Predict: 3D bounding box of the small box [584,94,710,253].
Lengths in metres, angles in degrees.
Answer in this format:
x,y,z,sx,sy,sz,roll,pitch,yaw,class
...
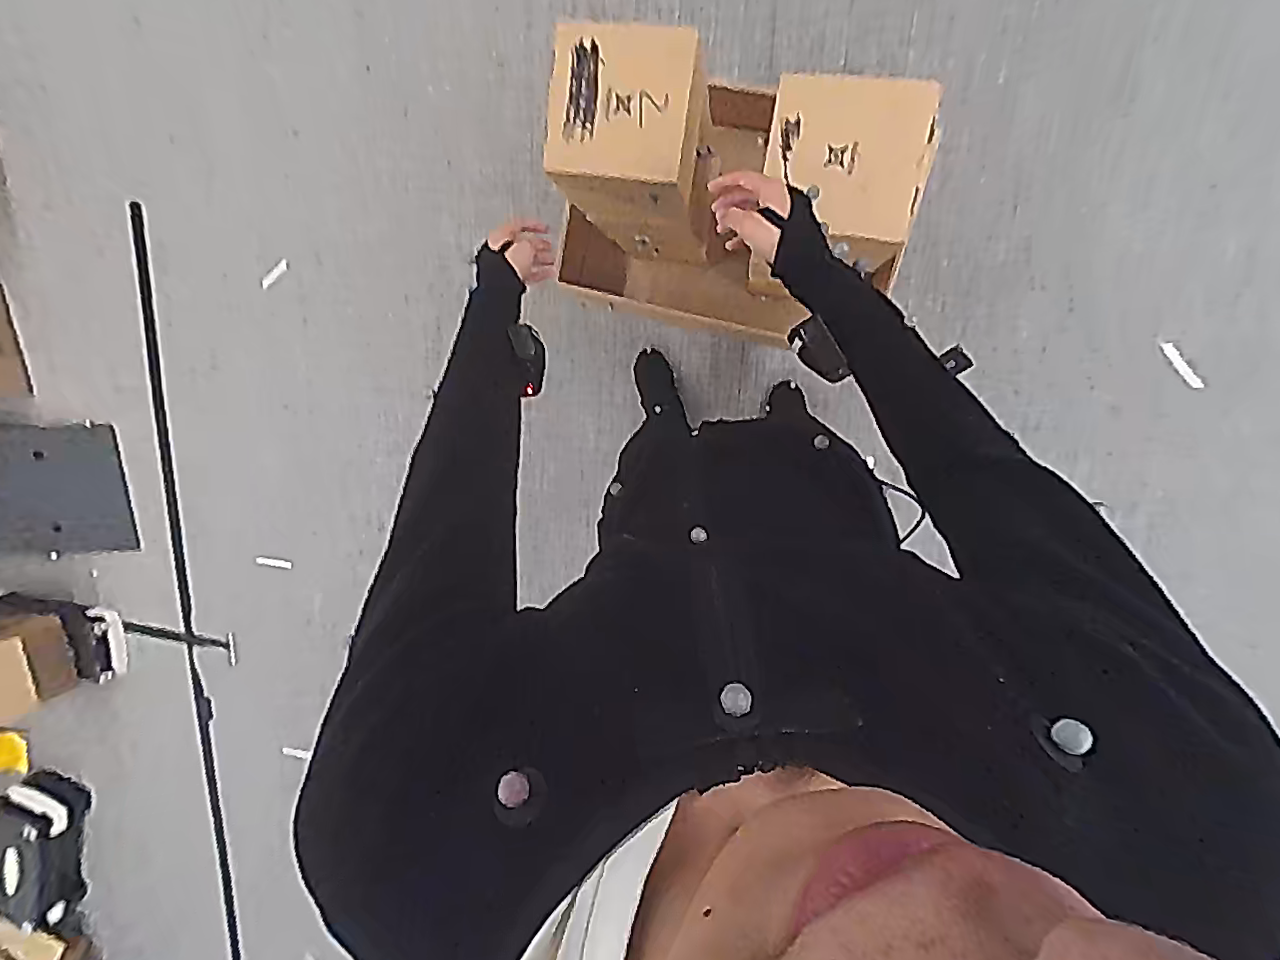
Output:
x,y,z,sx,sy,sz,roll,pitch,yaw,class
0.018,-0.488,0.880,0.168,0.176,0.179,10,102,10,small box

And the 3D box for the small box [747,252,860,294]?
x,y,z,sx,sy,sz,roll,pitch,yaw,class
0.269,-0.404,0.853,0.168,0.176,0.179,13,102,8,small box

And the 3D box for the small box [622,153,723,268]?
x,y,z,sx,sy,sz,roll,pitch,yaw,class
0.057,-0.516,1.038,0.179,0.176,0.168,12,103,7,small box

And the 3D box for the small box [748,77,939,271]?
x,y,z,sx,sy,sz,roll,pitch,yaw,class
0.242,-0.375,0.694,0.179,0.176,0.168,11,102,8,small box
